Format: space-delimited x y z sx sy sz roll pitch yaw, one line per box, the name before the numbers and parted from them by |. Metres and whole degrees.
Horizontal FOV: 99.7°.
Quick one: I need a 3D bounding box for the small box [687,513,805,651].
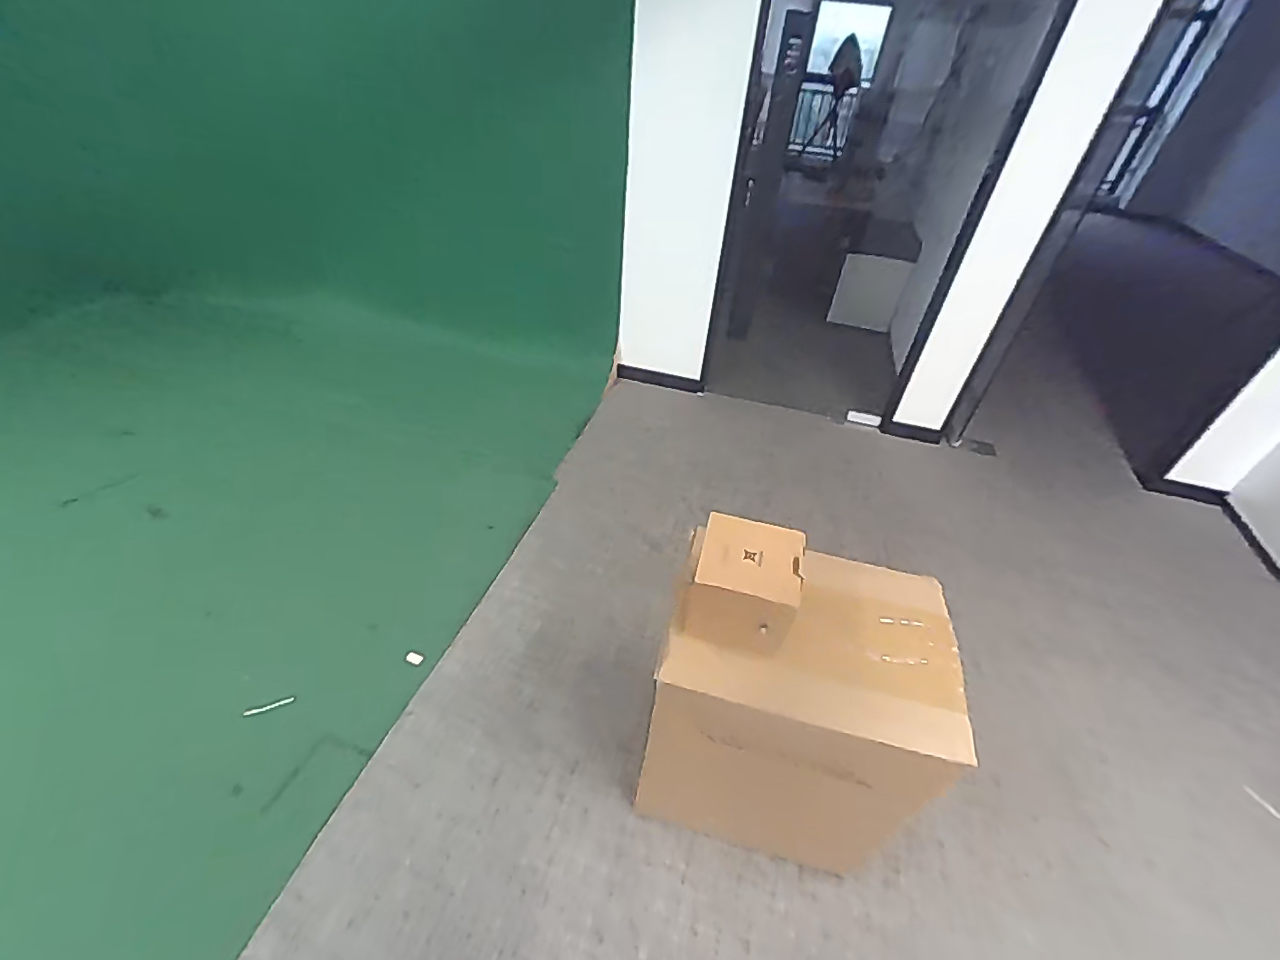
small box | 0.190 0.189 0.985 0.179 0.176 0.168 11 44 10
